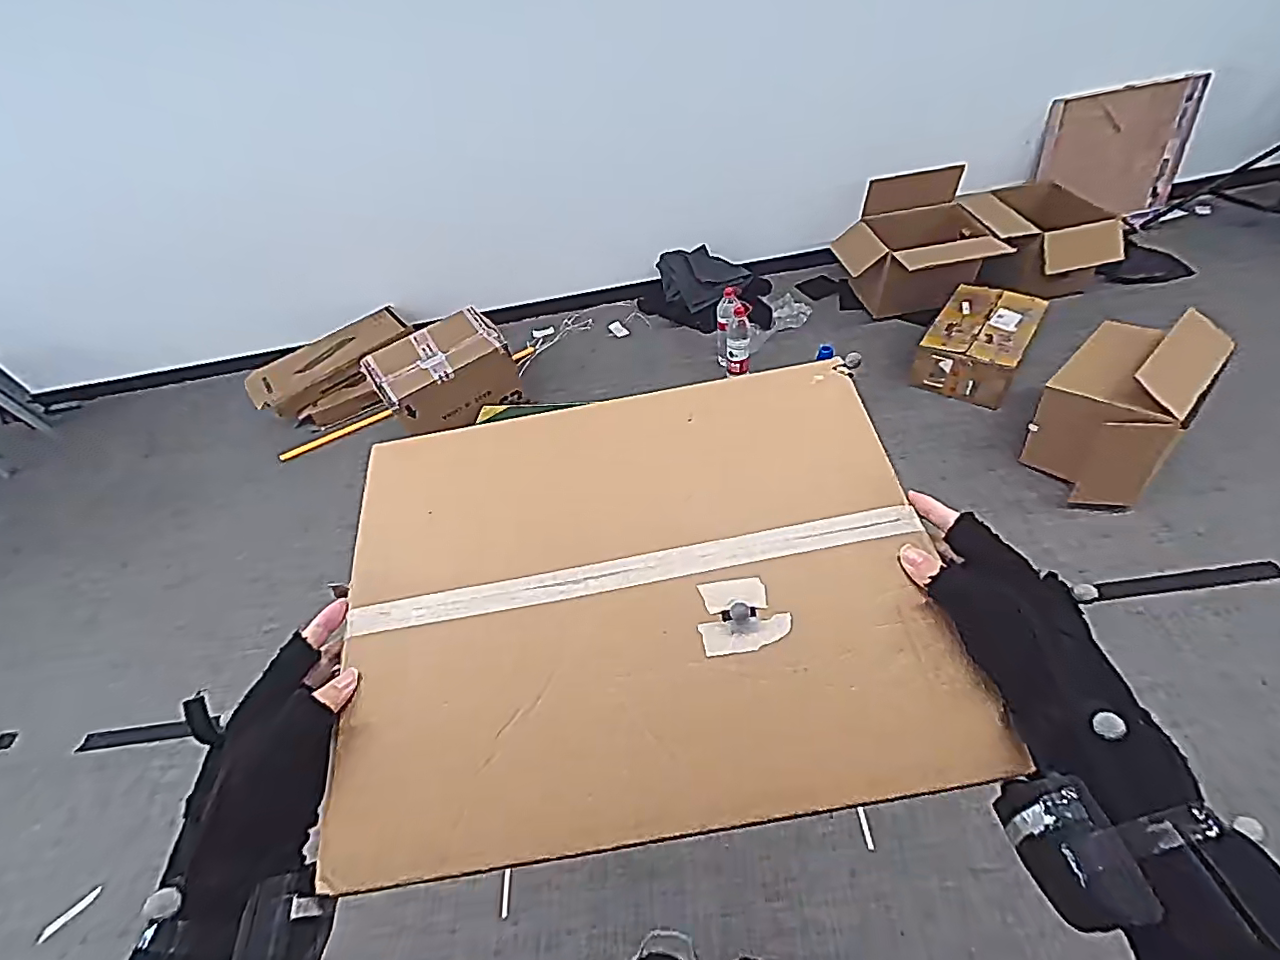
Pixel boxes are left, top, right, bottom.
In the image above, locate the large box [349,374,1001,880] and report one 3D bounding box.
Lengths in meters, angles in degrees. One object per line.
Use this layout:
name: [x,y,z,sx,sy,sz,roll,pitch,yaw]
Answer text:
large box: [0.011,0.147,0.522,0.408,0.320,0.320,-10,59,0]
